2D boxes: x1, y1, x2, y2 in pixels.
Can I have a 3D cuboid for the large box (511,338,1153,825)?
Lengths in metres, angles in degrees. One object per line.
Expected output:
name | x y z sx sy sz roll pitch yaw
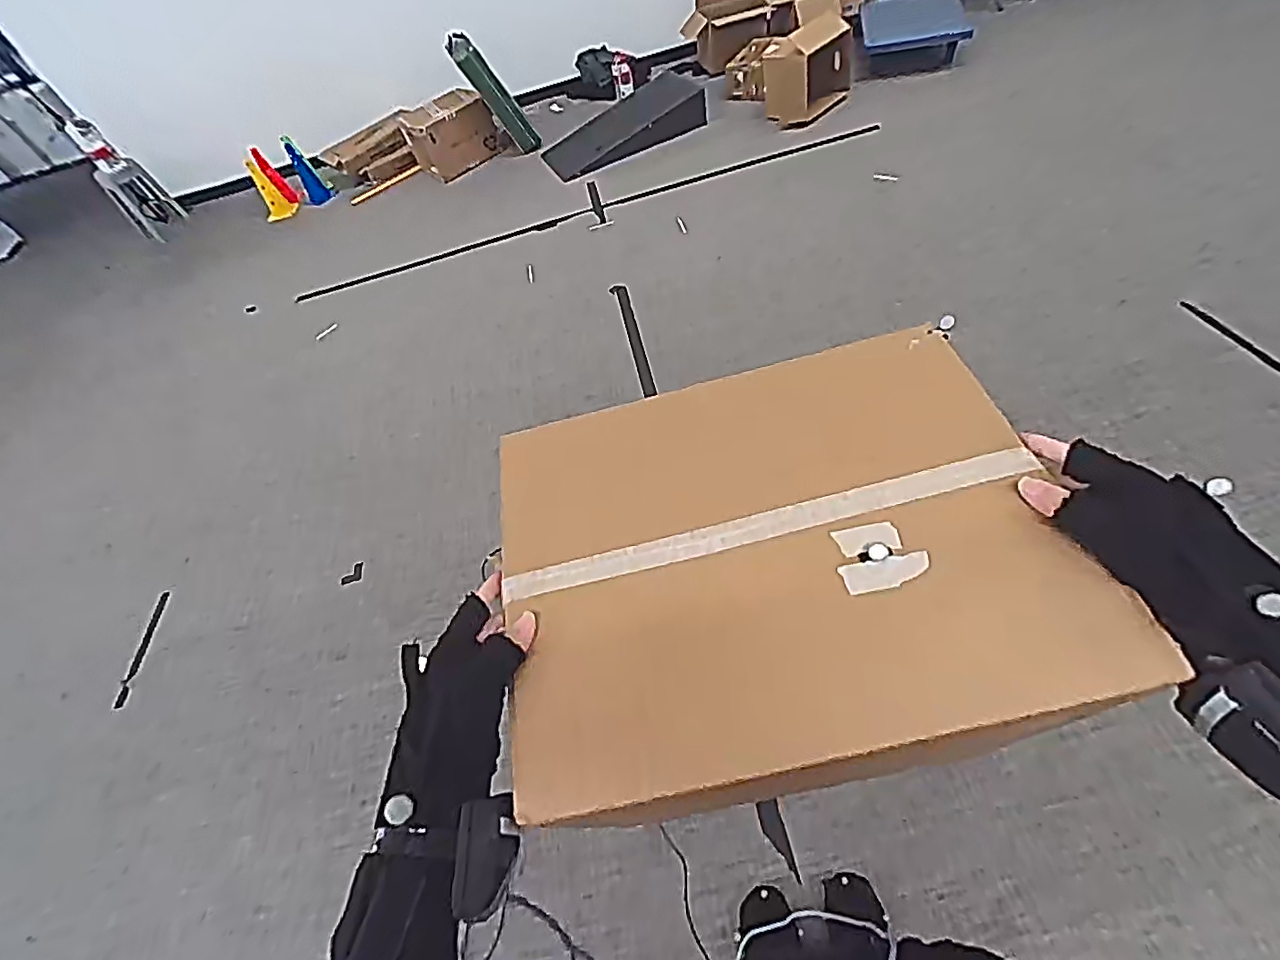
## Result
large box | 0.122 0.122 0.542 0.408 0.320 0.320 -14 56 3
